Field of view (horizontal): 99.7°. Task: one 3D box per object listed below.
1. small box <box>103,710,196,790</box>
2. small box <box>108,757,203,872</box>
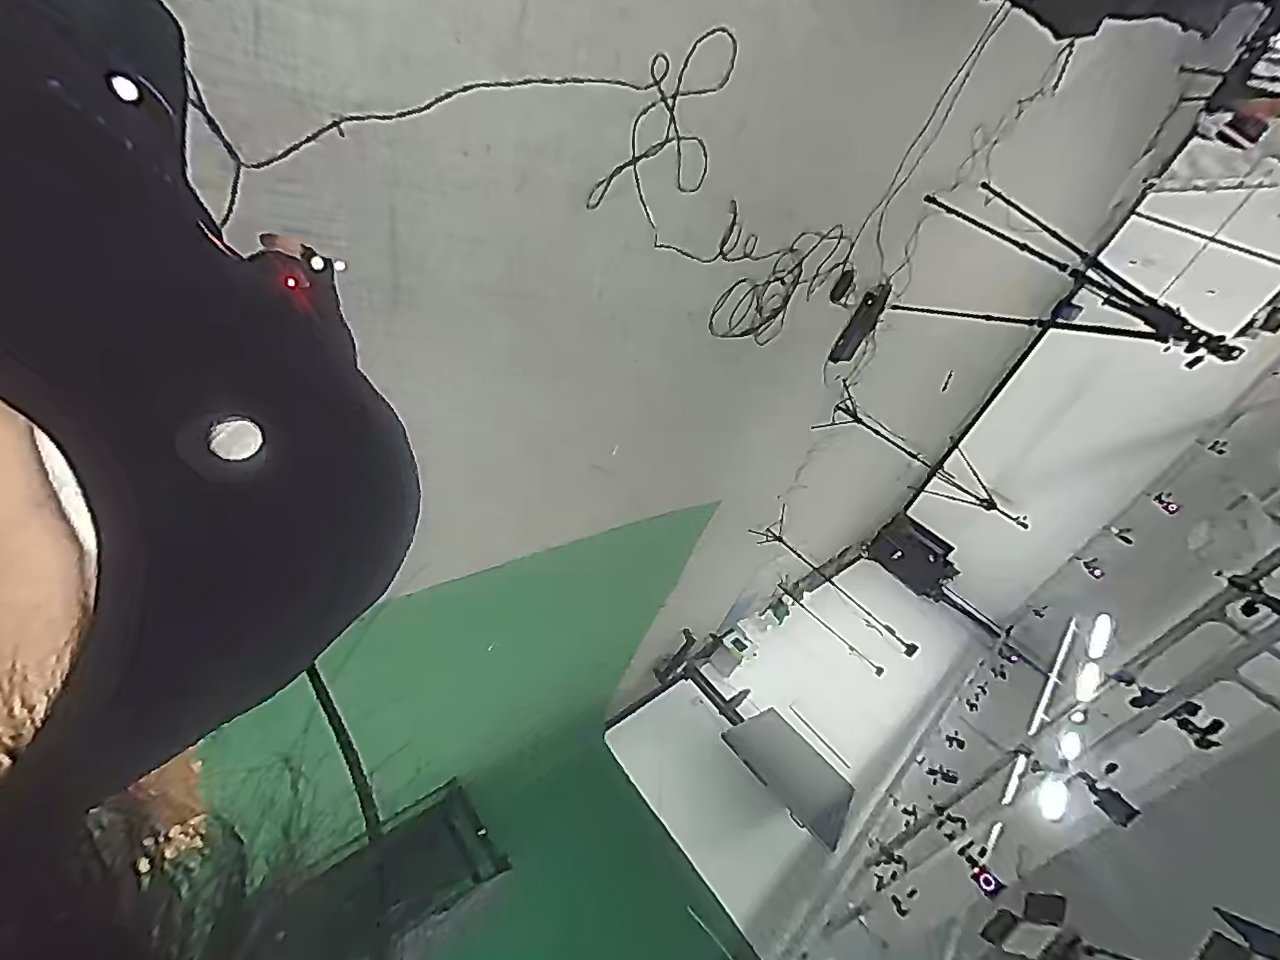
[{"bbox_3d":[-1.416,0.804,1.564,0.179,0.176,0.168,-10,133,-45],"label":"small box"},{"bbox_3d":[-1.319,0.902,1.473,0.179,0.176,0.168,-11,135,-46],"label":"small box"}]
